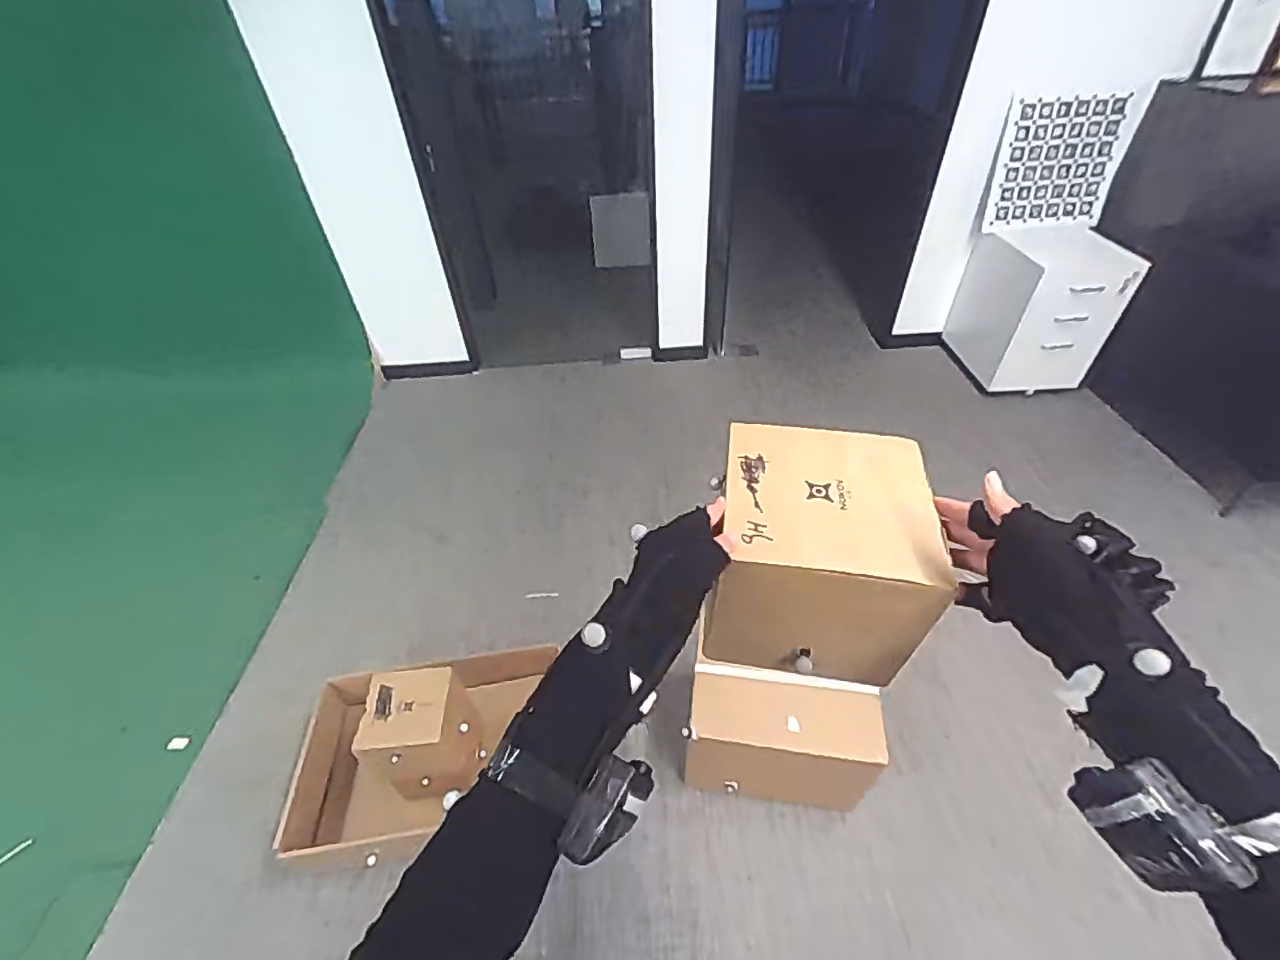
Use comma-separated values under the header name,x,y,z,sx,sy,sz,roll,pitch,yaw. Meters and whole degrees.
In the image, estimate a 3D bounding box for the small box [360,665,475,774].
name,x,y,z,sx,sy,sz,roll,pitch,yaw
small box,-0.482,0.535,1.201,0.179,0.176,0.168,-4,43,-3

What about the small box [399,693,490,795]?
name,x,y,z,sx,sy,sz,roll,pitch,yaw
small box,-0.478,0.647,1.321,0.179,0.176,0.168,-6,43,-5

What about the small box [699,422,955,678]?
name,x,y,z,sx,sy,sz,roll,pitch,yaw
small box,0.158,0.069,0.516,0.179,0.176,0.168,7,45,6
